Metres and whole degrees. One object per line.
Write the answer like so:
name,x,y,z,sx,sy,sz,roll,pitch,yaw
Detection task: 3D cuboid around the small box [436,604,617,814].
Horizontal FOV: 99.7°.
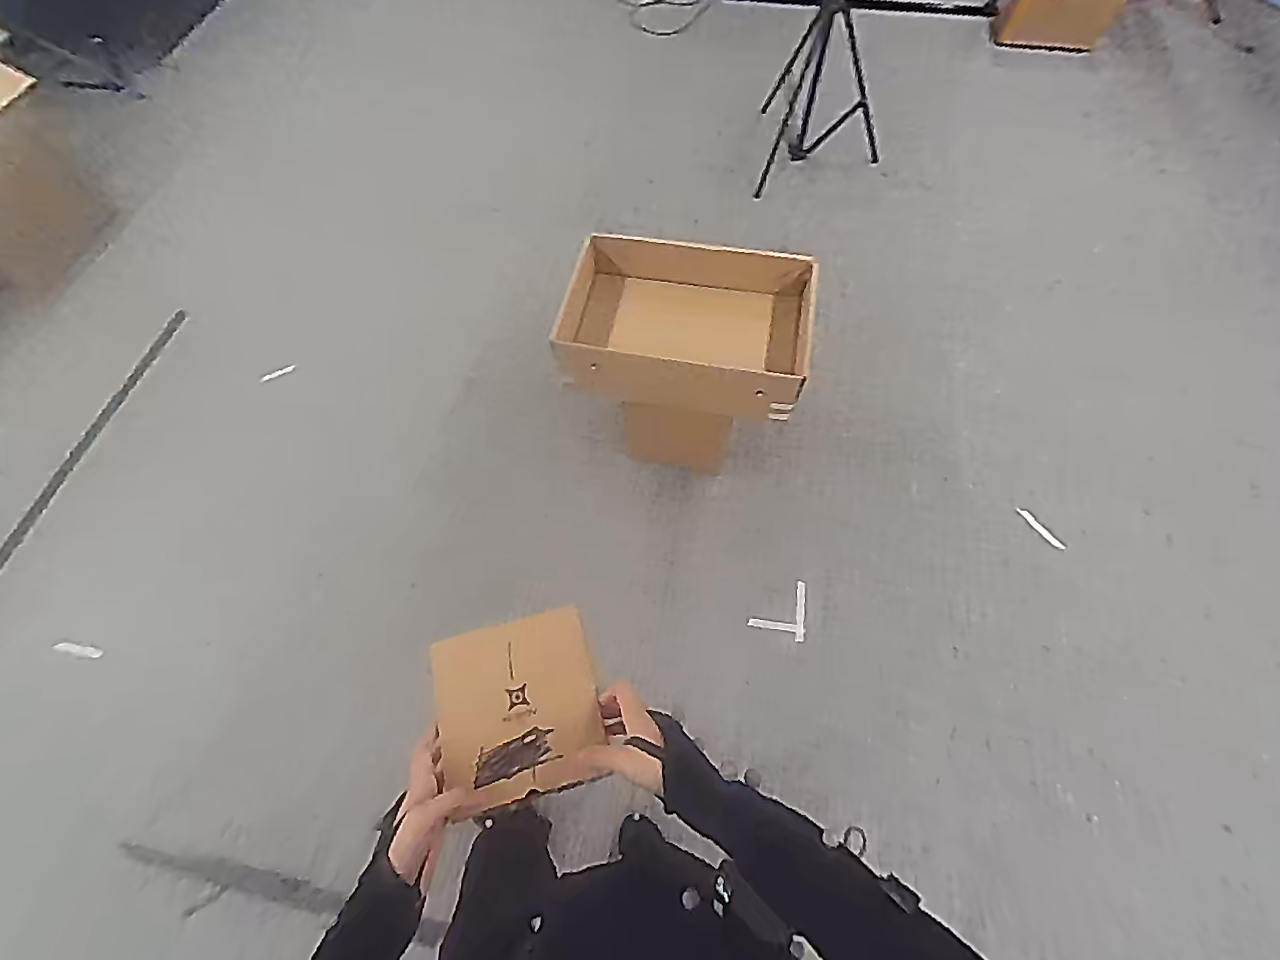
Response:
small box,-0.125,0.264,0.637,0.168,0.176,0.179,-13,66,-6
